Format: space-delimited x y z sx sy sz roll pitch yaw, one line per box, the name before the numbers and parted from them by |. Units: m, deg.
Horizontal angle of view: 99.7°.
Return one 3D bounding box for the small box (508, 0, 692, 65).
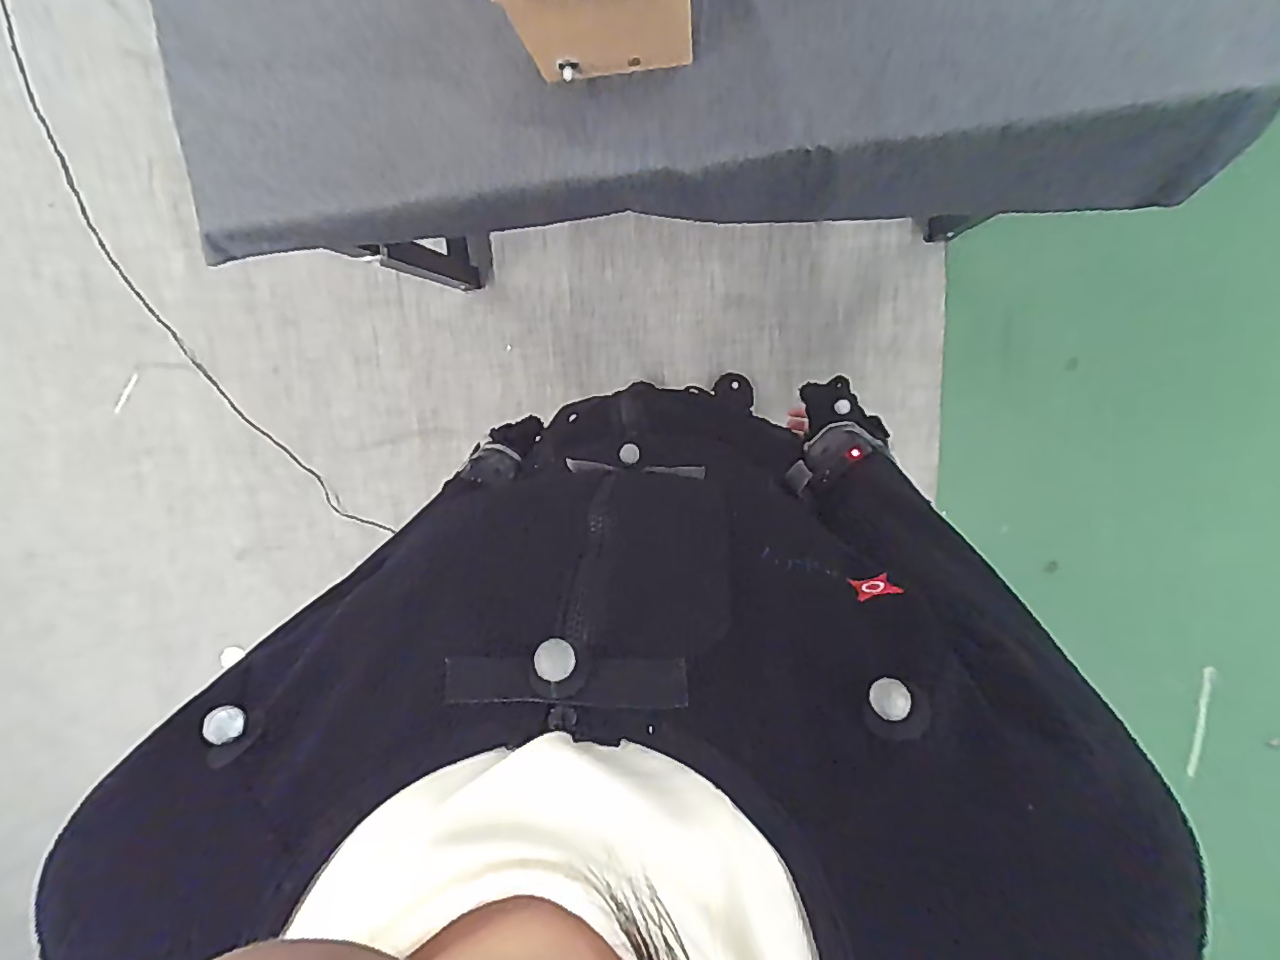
small box | -0.037 -0.527 0.506 0.168 0.176 0.179 -2 101 7
